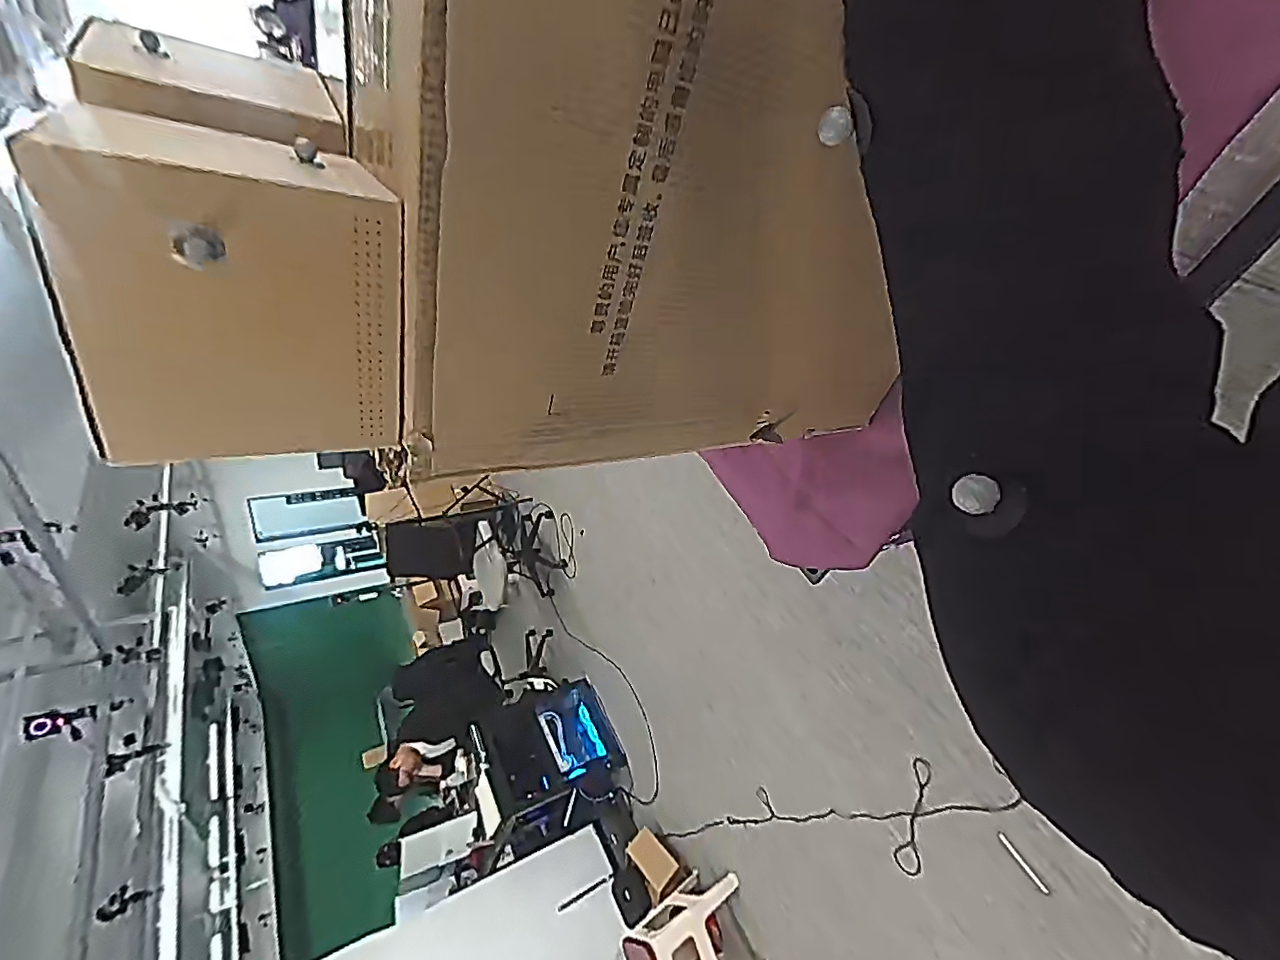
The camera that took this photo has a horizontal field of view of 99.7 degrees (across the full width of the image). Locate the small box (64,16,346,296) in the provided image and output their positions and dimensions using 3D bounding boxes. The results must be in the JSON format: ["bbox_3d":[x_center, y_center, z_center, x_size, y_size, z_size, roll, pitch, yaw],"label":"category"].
[{"bbox_3d":[-0.376,-0.285,0.501,0.179,0.176,0.168,56,139,35],"label":"small box"}]
